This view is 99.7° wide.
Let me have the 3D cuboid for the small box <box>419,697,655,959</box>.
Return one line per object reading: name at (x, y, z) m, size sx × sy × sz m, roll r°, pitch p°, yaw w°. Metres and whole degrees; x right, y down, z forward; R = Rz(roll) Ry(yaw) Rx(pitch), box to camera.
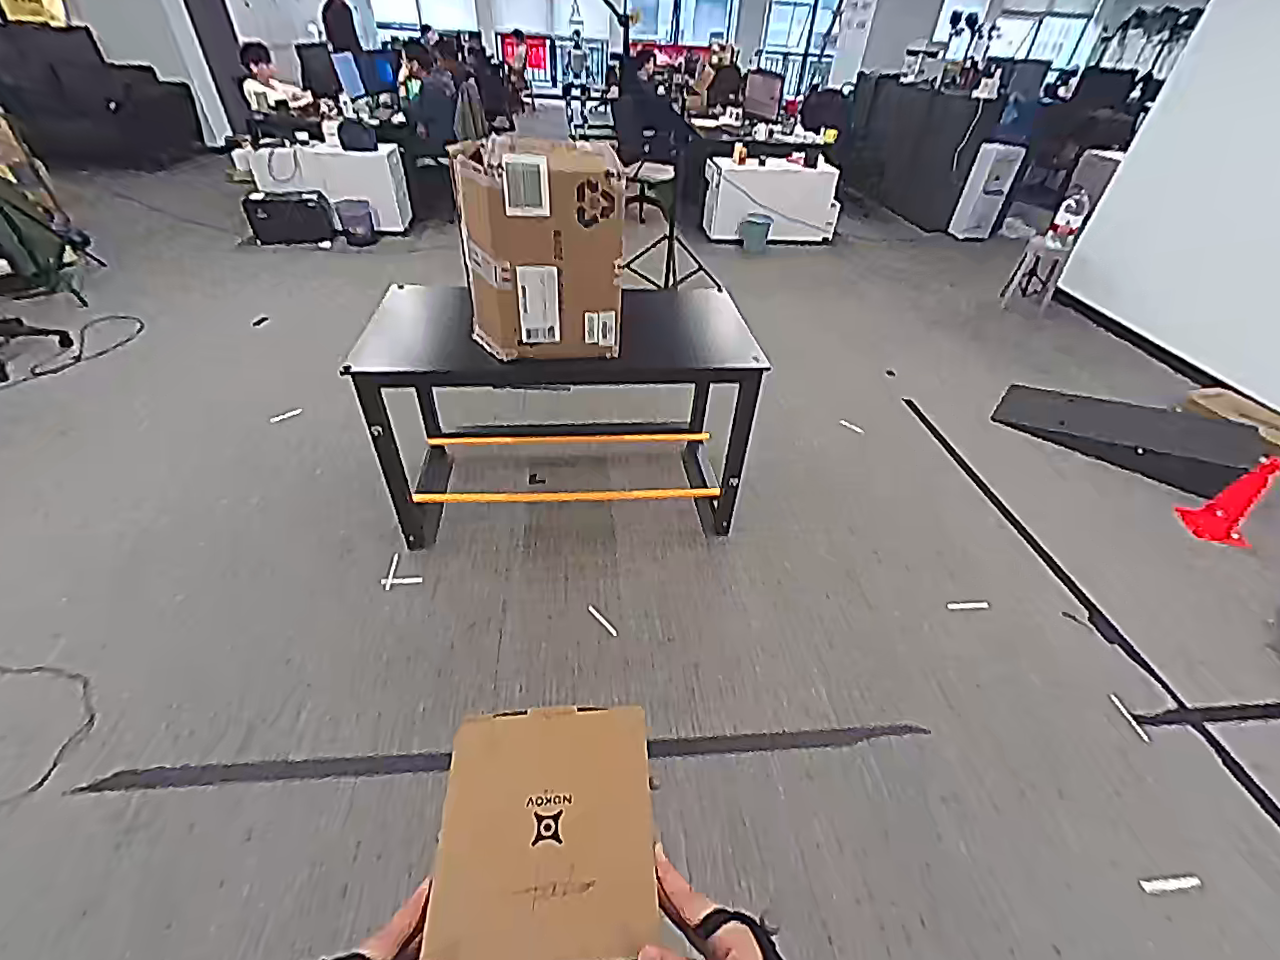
small box at (-0.077, 0.319, 0.488) m, size 0.168 × 0.176 × 0.179 m, roll -2°, pitch 45°, yaw -3°
